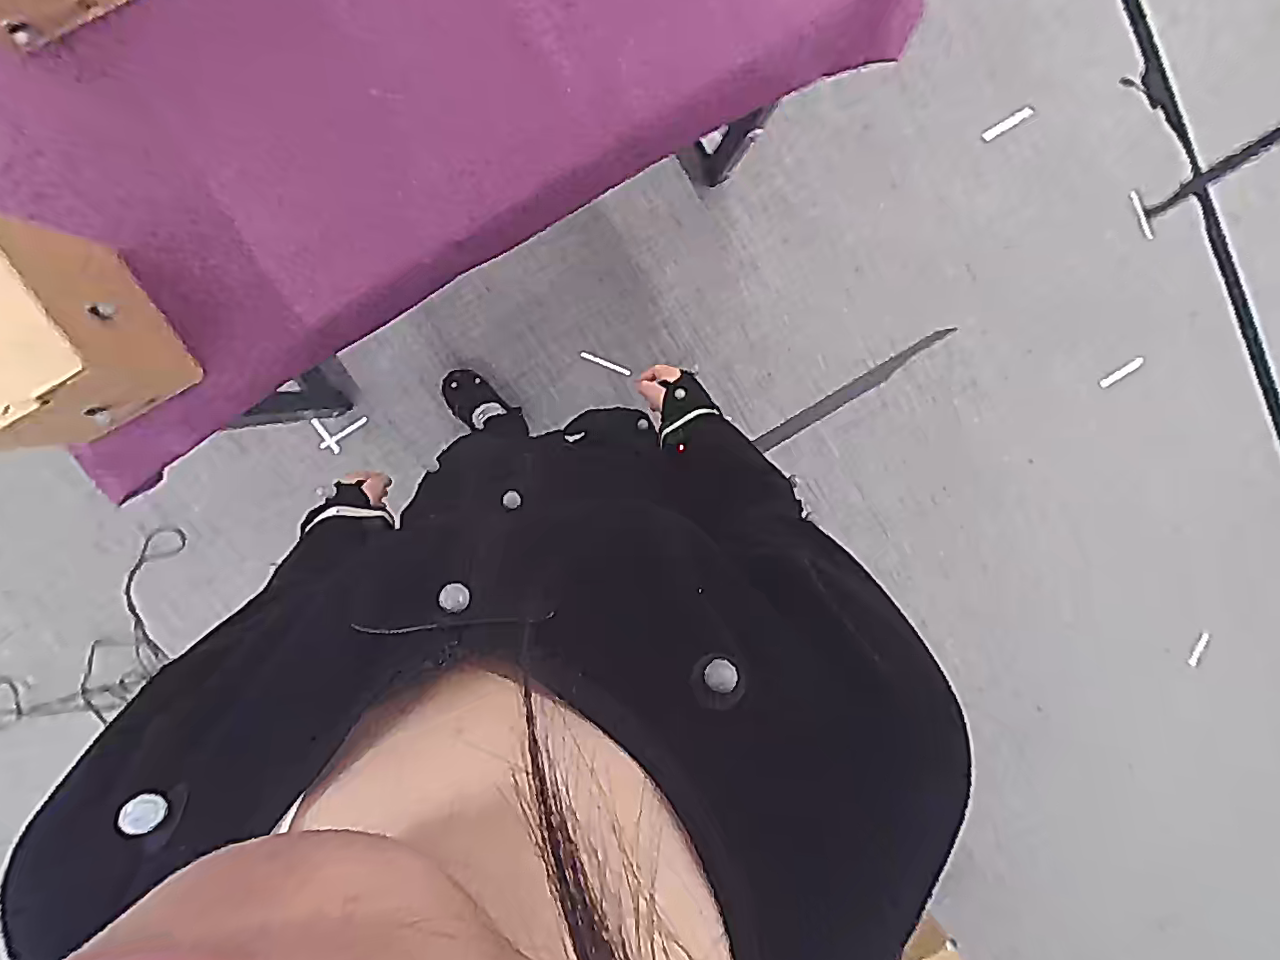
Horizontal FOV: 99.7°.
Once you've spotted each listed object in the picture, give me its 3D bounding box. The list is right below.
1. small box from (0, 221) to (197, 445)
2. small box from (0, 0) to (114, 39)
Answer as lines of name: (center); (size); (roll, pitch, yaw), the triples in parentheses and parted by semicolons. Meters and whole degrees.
small box: (-0.643, -0.152, 0.579); (0.168, 0.176, 0.179); (-31, 102, -2)
small box: (-0.655, -0.570, 0.508); (0.168, 0.176, 0.179); (-30, 102, -2)
